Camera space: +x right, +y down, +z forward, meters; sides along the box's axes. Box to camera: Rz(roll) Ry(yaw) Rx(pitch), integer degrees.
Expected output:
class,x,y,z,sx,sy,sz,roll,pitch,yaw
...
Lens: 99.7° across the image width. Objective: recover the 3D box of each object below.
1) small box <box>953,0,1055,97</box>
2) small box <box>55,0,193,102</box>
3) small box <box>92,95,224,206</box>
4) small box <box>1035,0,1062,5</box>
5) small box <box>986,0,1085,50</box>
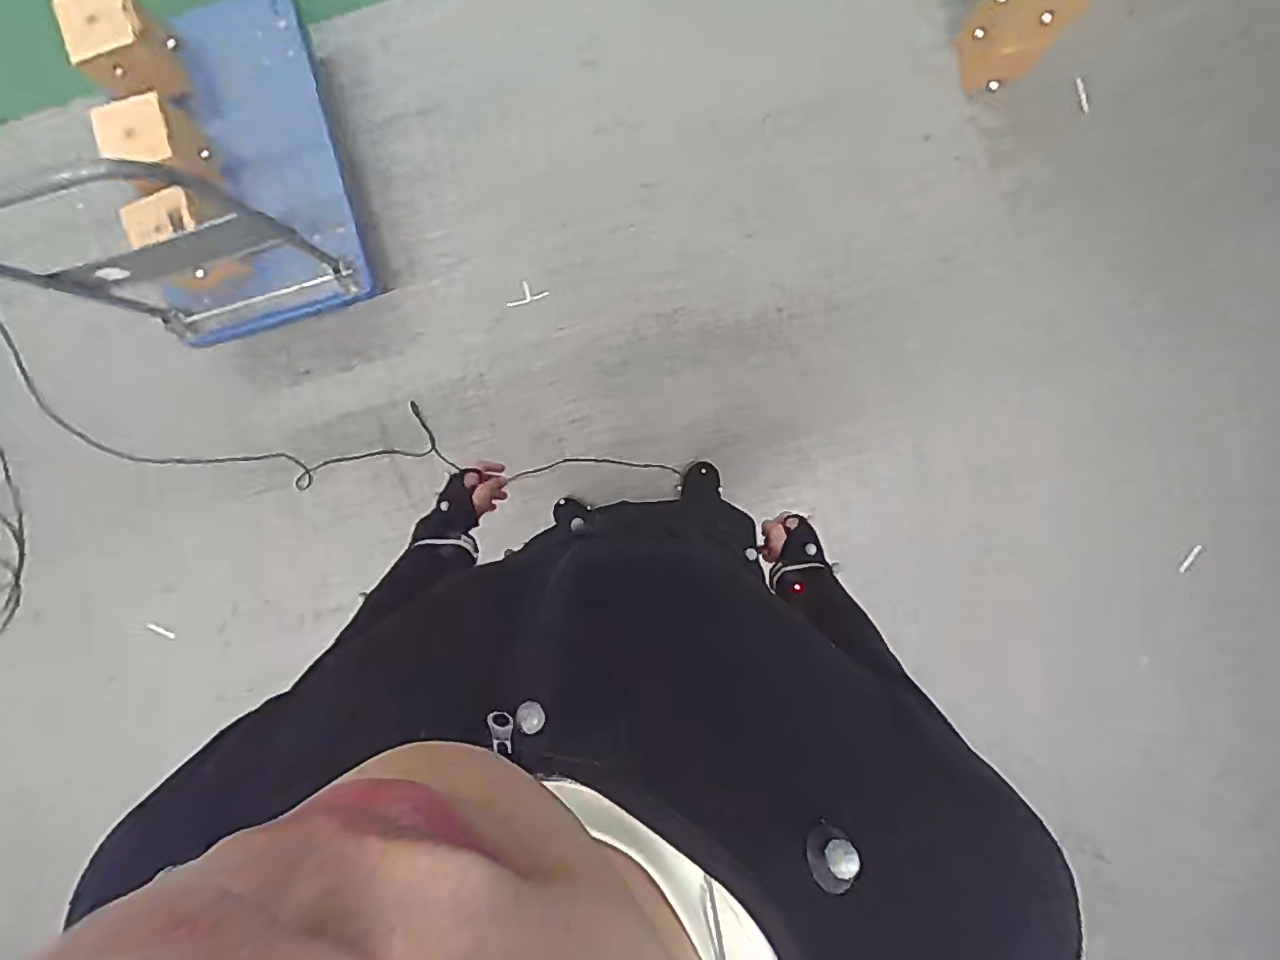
class,x,y,z,sx,sy,sz,roll,pitch,yaw
small box,1.014,-1.233,1.522,0.168,0.176,0.179,-11,91,3
small box,-1.329,-1.117,1.403,0.179,0.176,0.168,-16,92,1
small box,-1.249,-0.849,1.412,0.179,0.176,0.168,-15,91,1
small box,1.008,-1.223,1.210,0.179,0.176,0.168,-12,91,2
small box,1.004,-1.234,1.358,0.179,0.176,0.168,-11,91,3
